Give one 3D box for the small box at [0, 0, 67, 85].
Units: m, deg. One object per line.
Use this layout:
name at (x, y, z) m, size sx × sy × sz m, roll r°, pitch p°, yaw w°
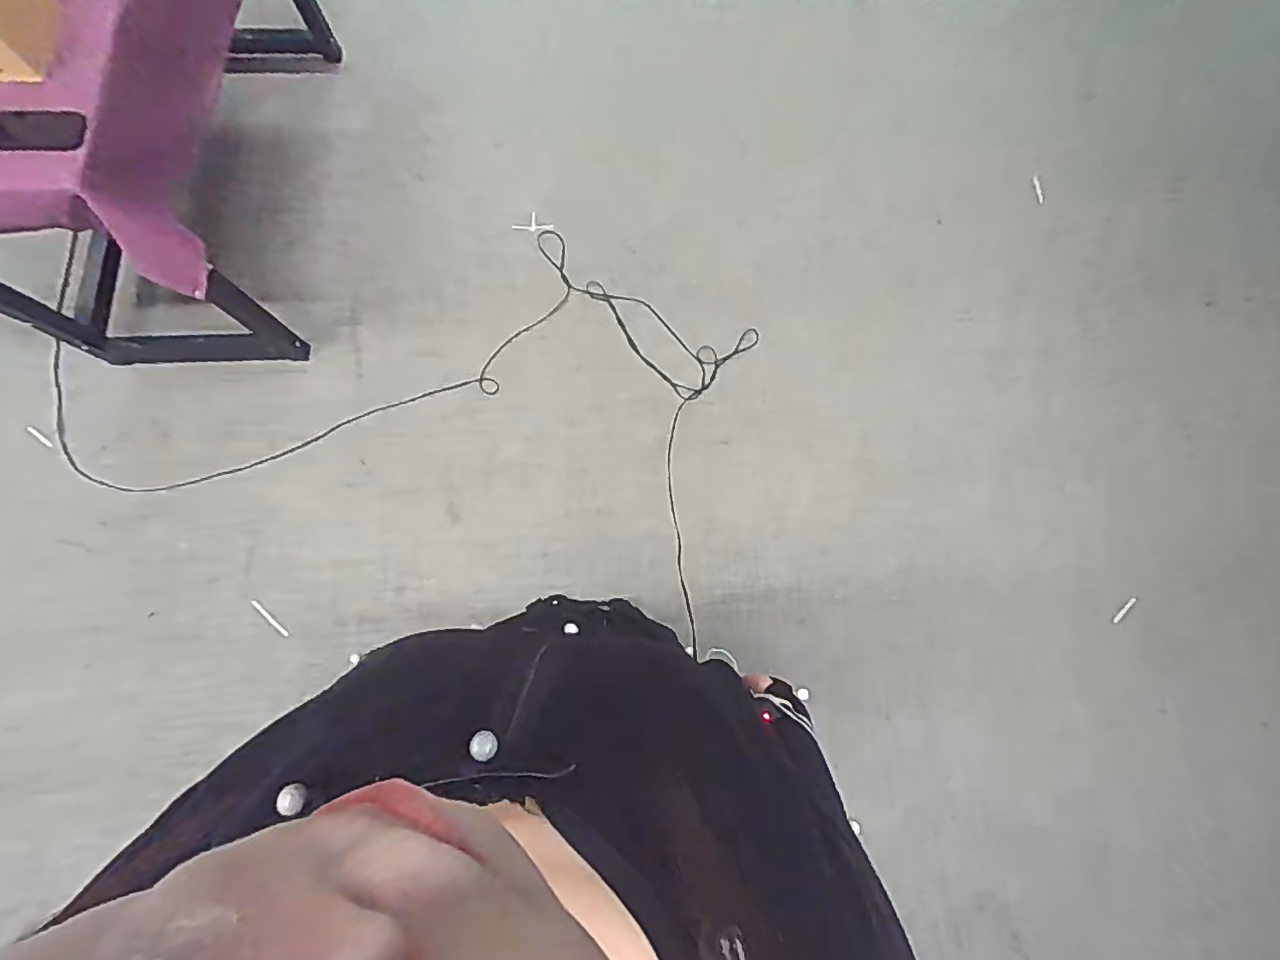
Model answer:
small box at (-1.140, -0.808, 0.911) m, size 0.168 × 0.176 × 0.179 m, roll 0°, pitch 76°, yaw -2°
